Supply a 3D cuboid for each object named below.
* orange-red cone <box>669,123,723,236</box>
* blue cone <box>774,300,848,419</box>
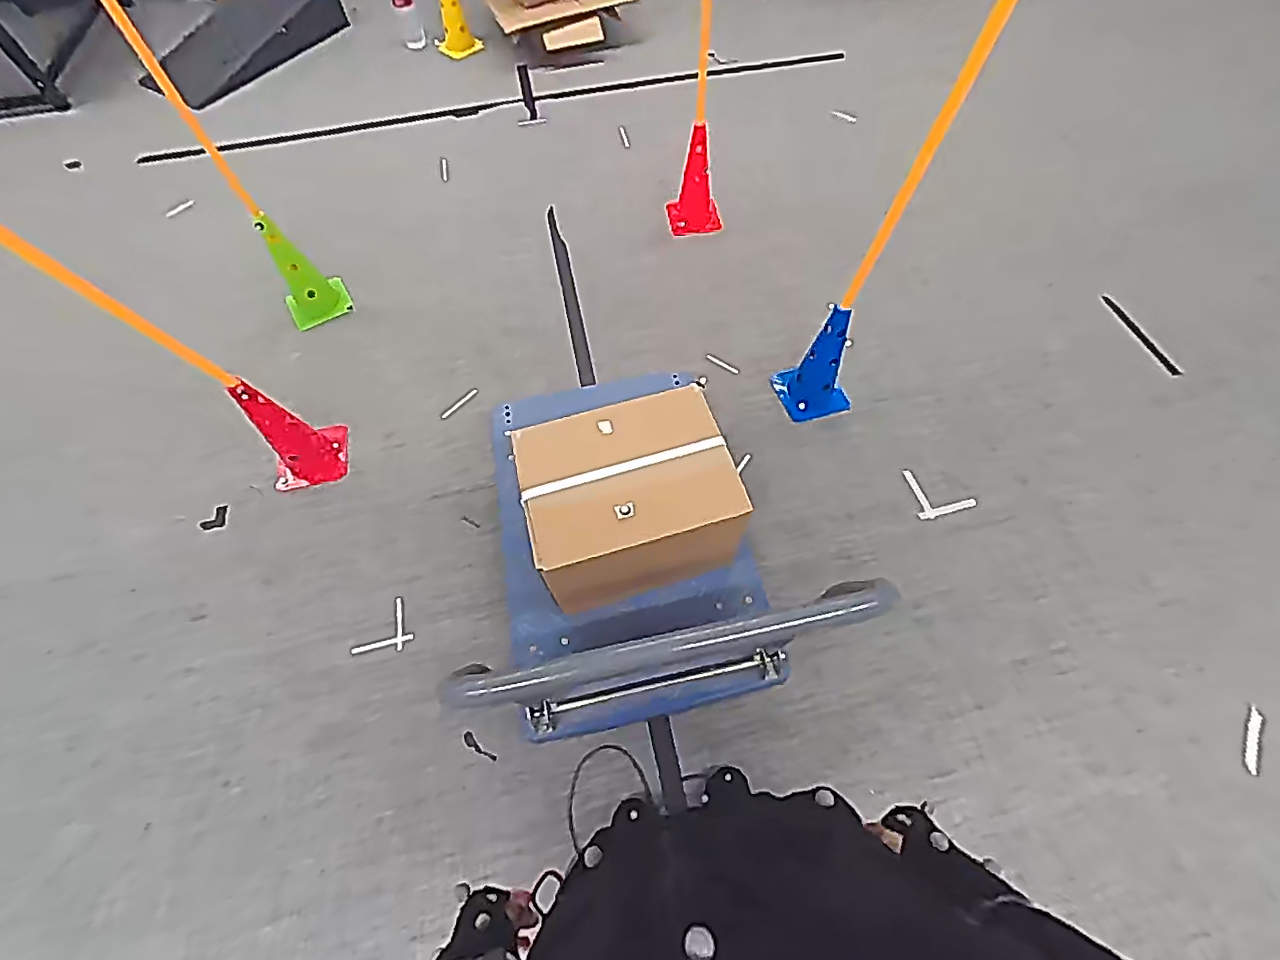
[{"bbox_3d":[0.219,-1.114,1.984,0.199,0.360,0.198,-5,62,-3],"label":"orange-red cone"},{"bbox_3d":[0.540,-0.362,1.582,0.193,0.380,0.192,-15,61,-7],"label":"blue cone"}]
